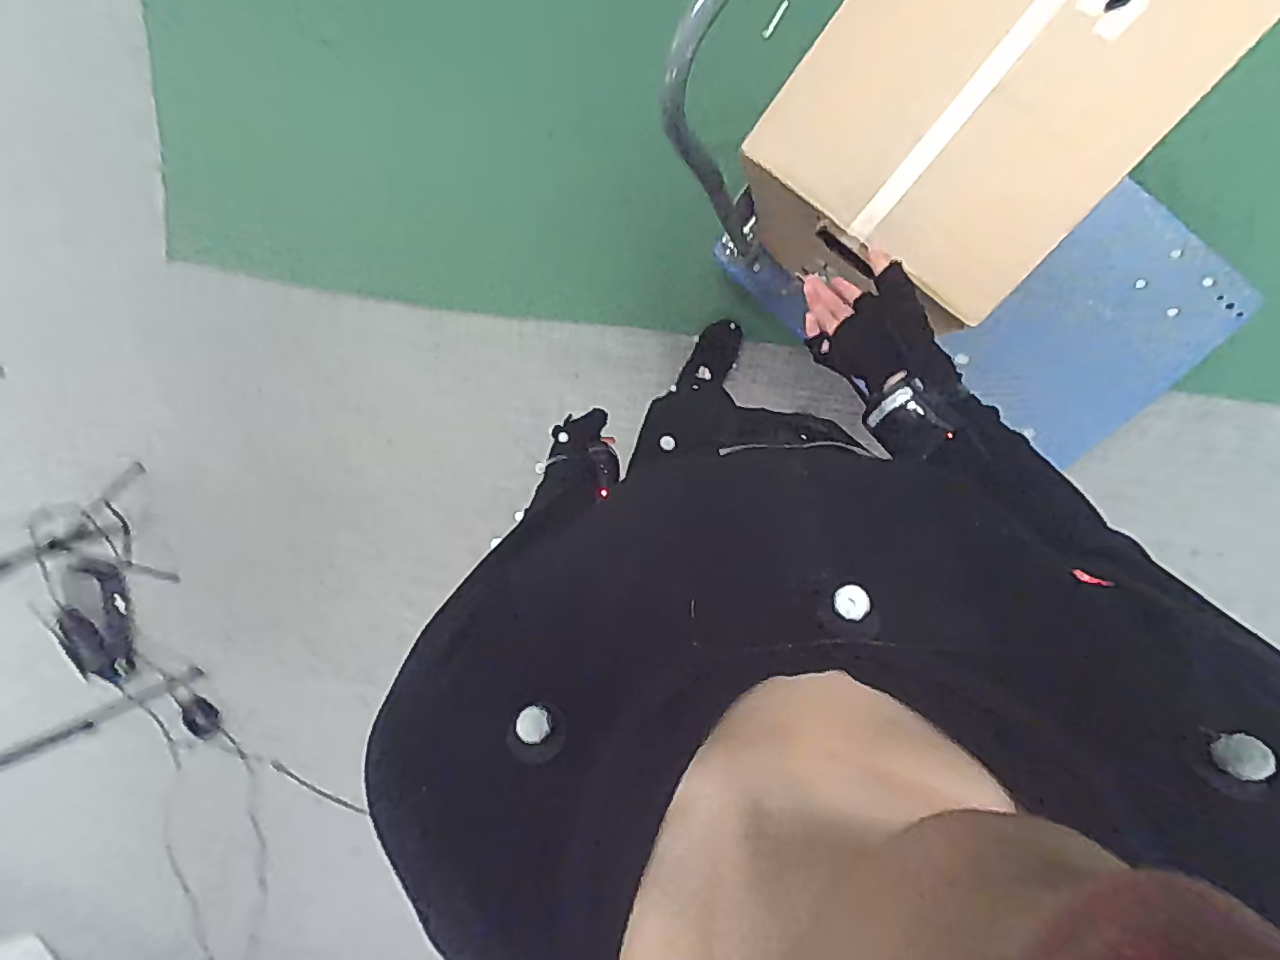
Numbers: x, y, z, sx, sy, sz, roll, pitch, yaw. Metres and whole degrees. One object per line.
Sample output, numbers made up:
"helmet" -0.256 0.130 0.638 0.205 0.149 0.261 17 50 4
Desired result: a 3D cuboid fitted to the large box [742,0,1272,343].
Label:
"large box" 0.378 -0.426 0.642 0.320 0.320 0.408 41 108 6
